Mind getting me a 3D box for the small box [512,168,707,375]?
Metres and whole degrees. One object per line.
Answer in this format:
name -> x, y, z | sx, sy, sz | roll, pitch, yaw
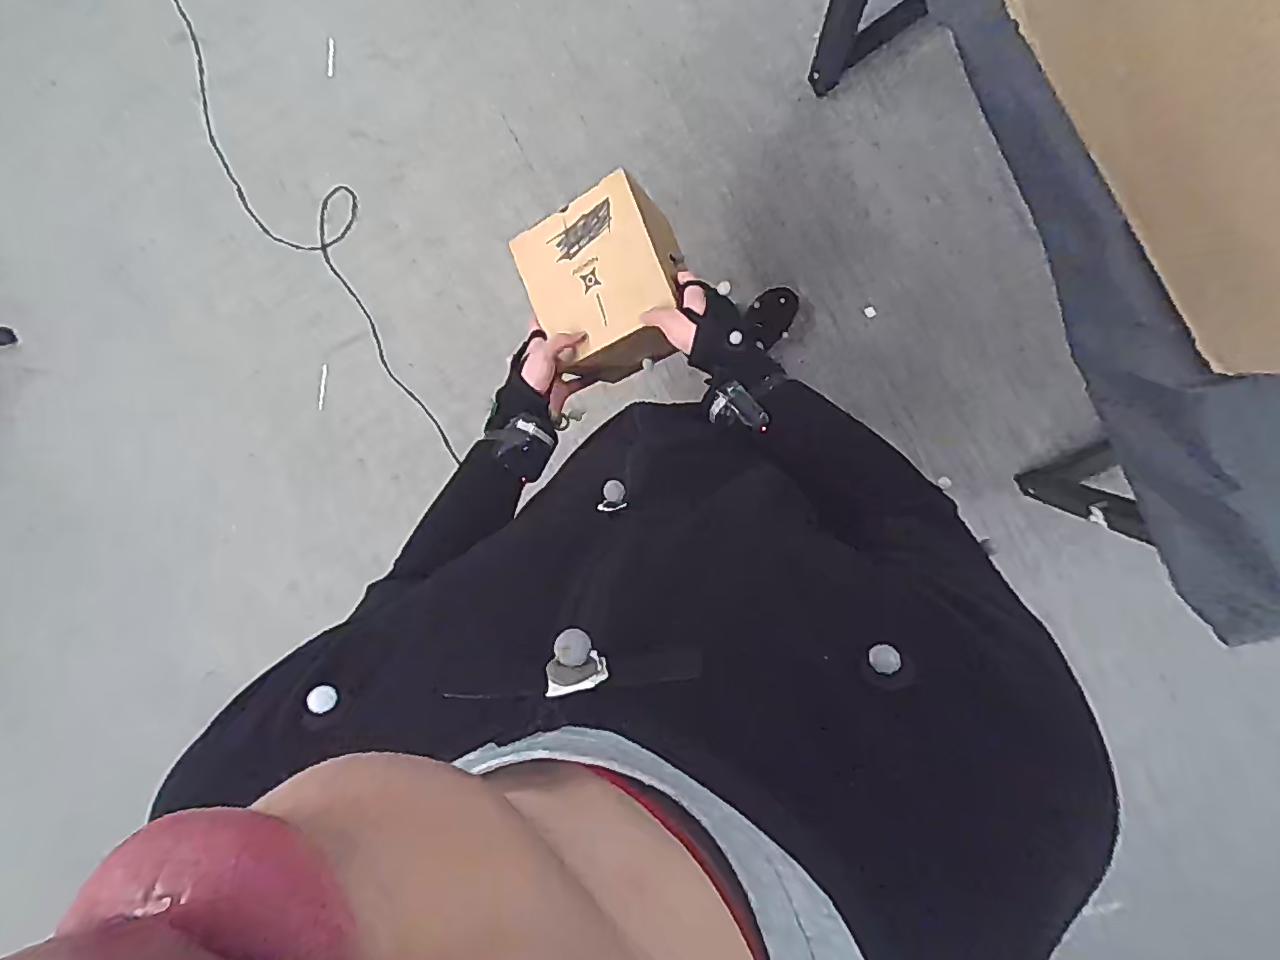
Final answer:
small box -> -0.032, -0.254, 0.710 | 0.168, 0.176, 0.179 | -22, 86, 23
